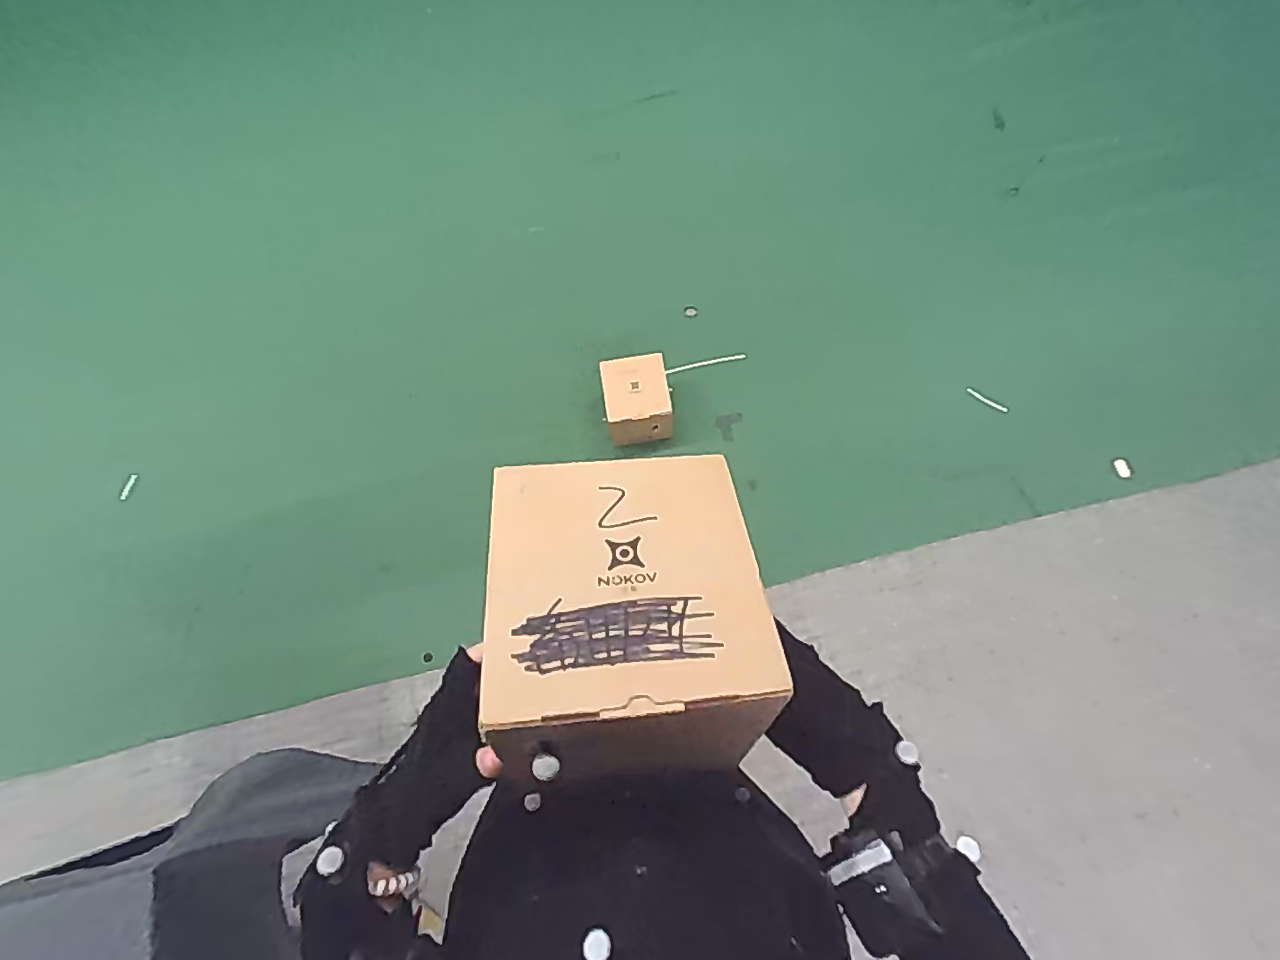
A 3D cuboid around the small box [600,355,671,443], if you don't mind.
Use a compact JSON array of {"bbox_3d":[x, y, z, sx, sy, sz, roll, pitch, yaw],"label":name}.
[{"bbox_3d":[-0.009,-0.208,1.452,0.168,0.176,0.179,-9,73,-1],"label":"small box"}]
